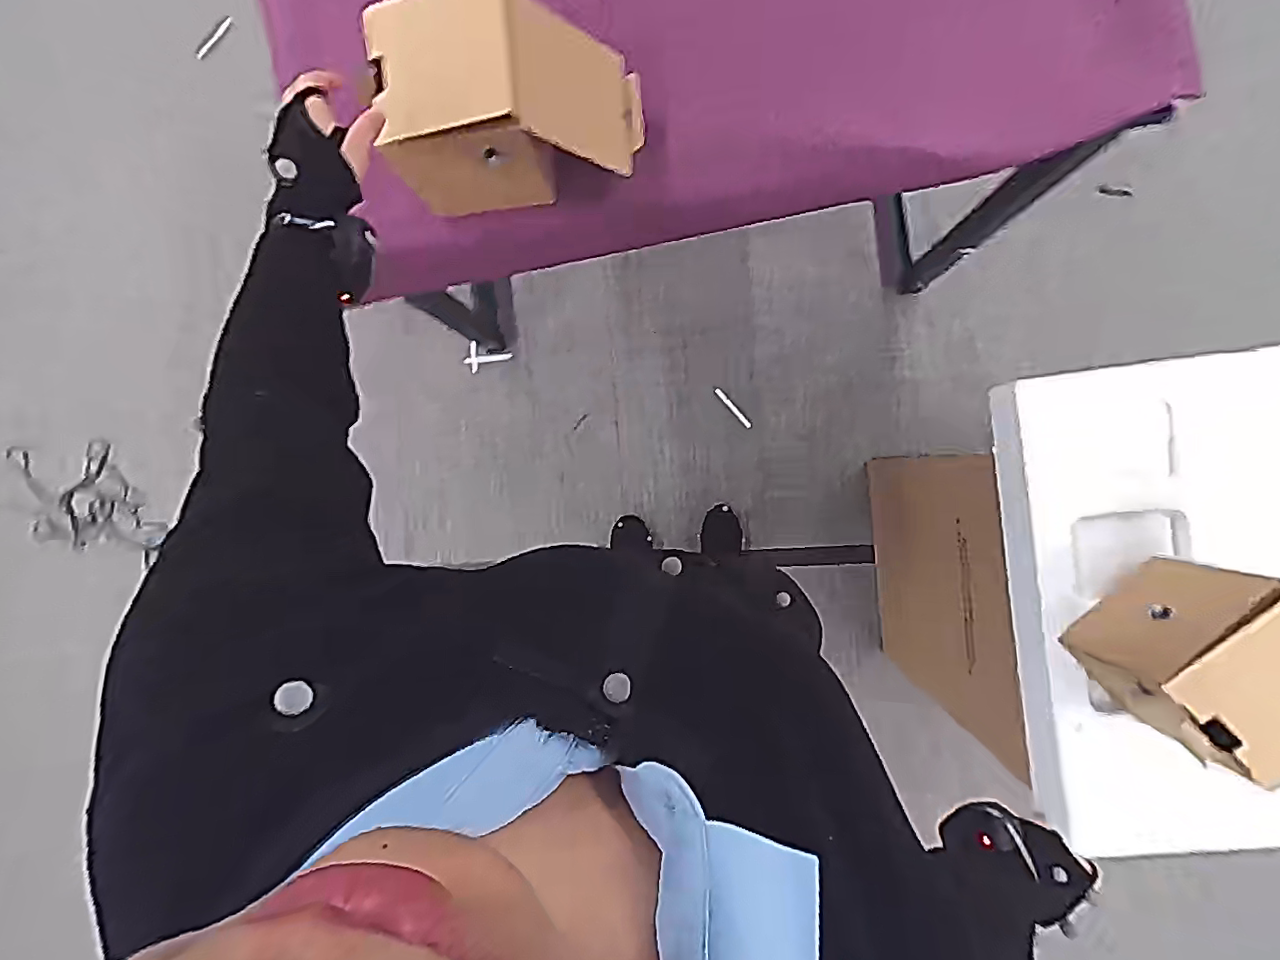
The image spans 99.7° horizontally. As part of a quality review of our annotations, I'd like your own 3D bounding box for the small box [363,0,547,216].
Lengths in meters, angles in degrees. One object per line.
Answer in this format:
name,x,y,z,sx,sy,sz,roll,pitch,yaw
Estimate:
small box,-0.223,-0.468,0.698,0.179,0.176,0.168,-5,88,5
